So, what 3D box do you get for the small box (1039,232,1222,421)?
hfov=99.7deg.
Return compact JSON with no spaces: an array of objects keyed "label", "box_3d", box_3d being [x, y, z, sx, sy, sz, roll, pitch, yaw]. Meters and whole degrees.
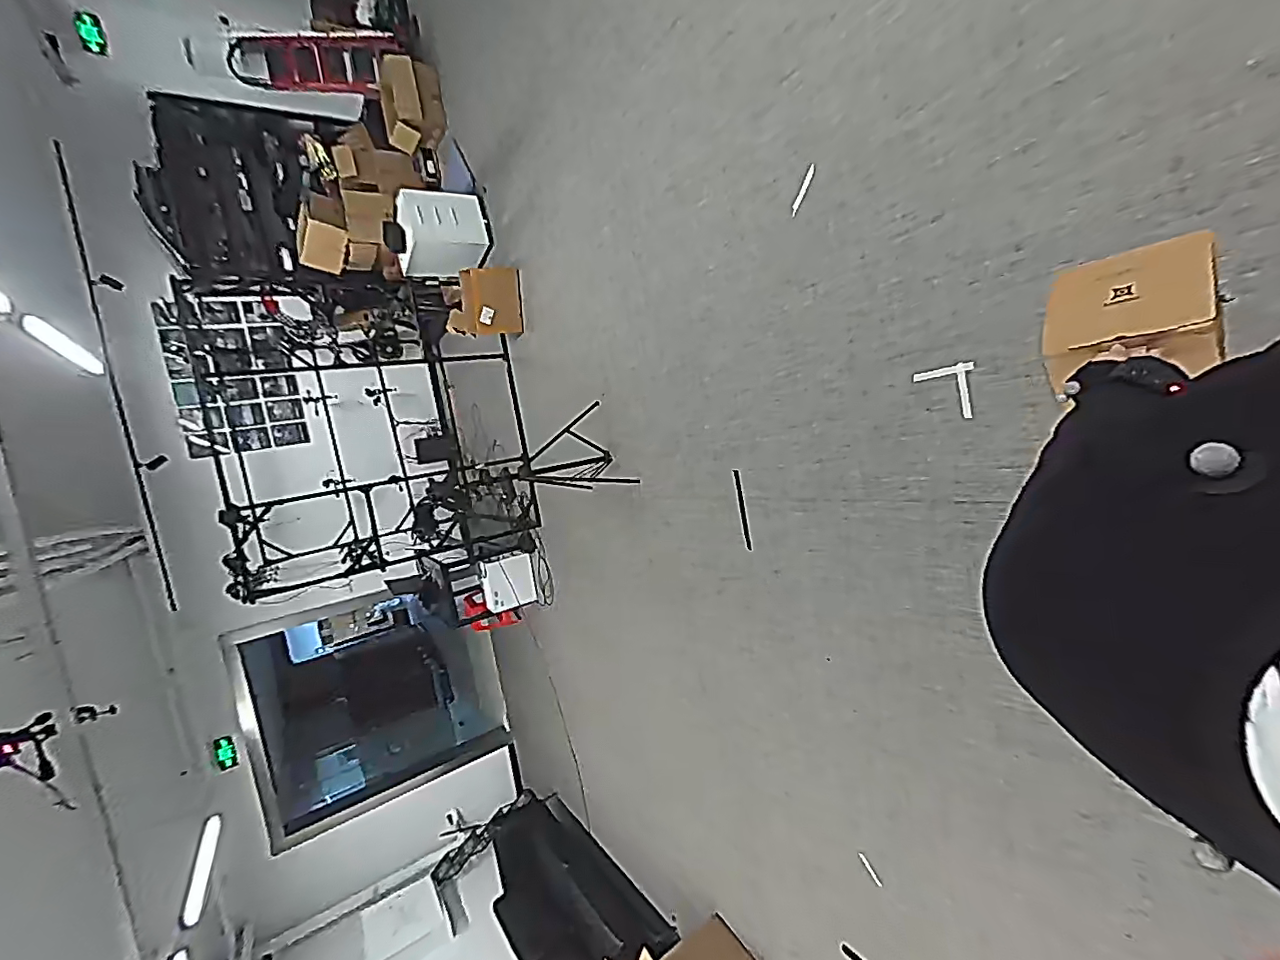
[{"label":"small box","box_3d":[0.685,-0.197,0.755,0.168,0.179,0.176,-5,140,48]}]
